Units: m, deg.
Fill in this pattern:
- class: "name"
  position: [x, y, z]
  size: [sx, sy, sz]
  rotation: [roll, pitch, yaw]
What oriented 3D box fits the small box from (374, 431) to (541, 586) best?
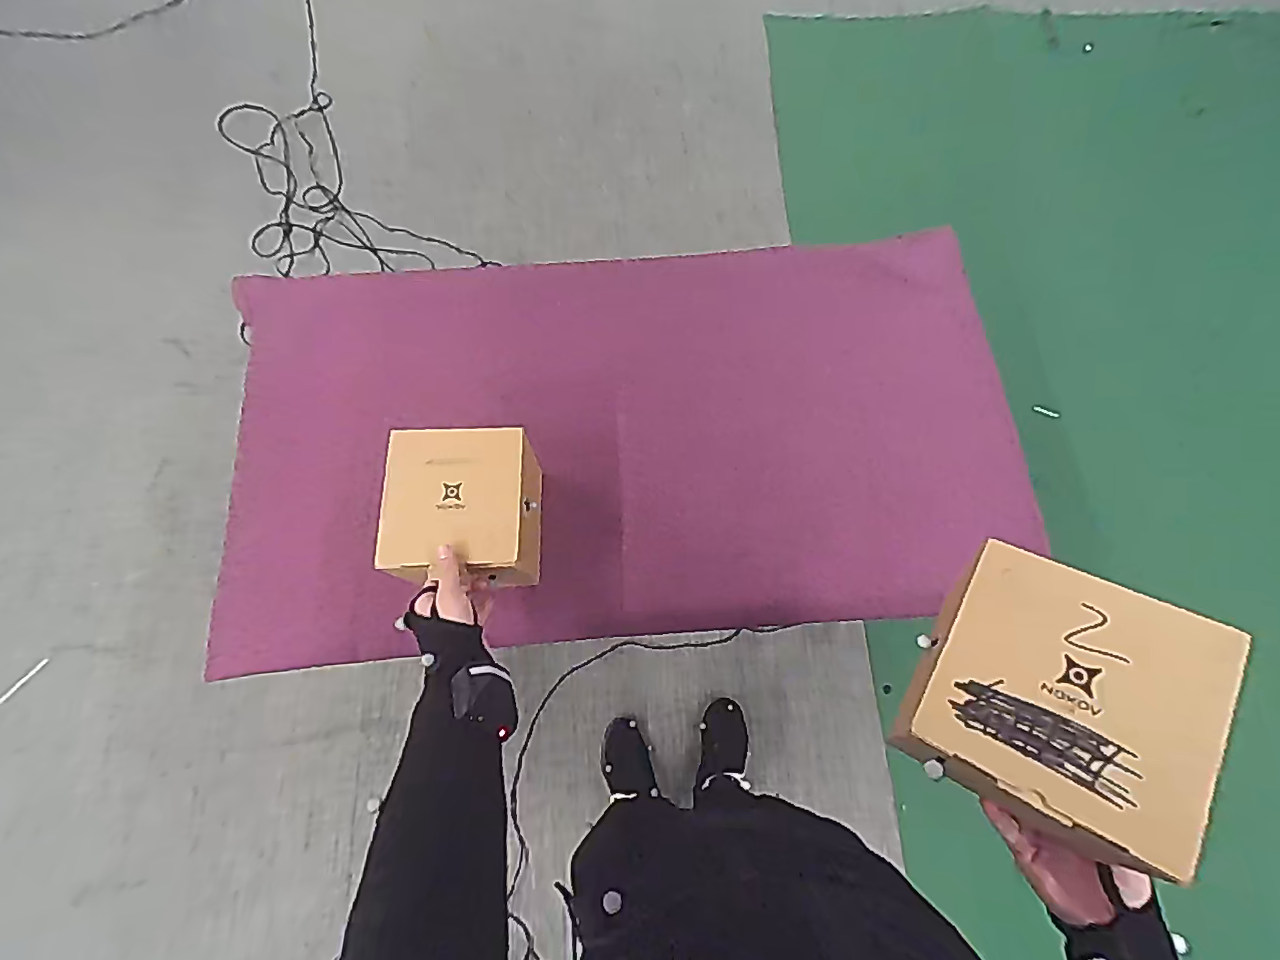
- class: "small box"
  position: [-0.229, 0.047, 0.727]
  size: [0.168, 0.176, 0.179]
  rotation: [0, 70, -2]
